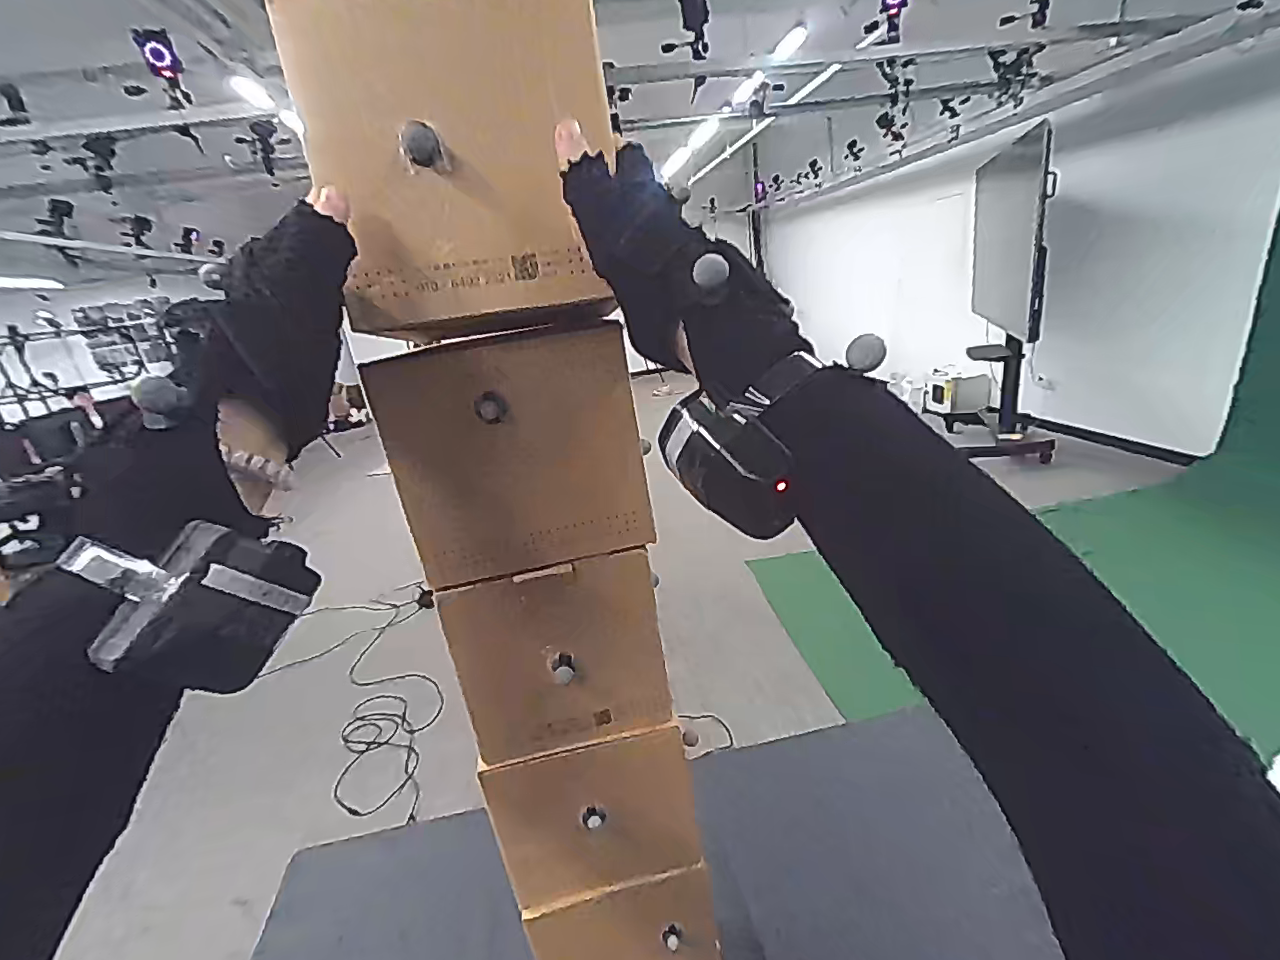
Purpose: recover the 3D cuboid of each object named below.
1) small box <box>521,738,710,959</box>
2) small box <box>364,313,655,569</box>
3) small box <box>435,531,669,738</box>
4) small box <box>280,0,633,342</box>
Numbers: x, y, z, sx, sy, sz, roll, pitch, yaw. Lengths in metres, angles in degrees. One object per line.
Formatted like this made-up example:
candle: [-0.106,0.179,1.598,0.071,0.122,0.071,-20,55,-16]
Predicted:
small box: [-0.027,0.428,0.597,0.179,0.176,0.168,-11,18,-7]
small box: [-0.095,-0.040,0.458,0.179,0.176,0.168,-11,18,-5]
small box: [-0.075,0.115,0.513,0.168,0.176,0.179,-11,19,-6]
small box: [-0.105,-0.196,0.382,0.168,0.176,0.179,-10,12,-6]
